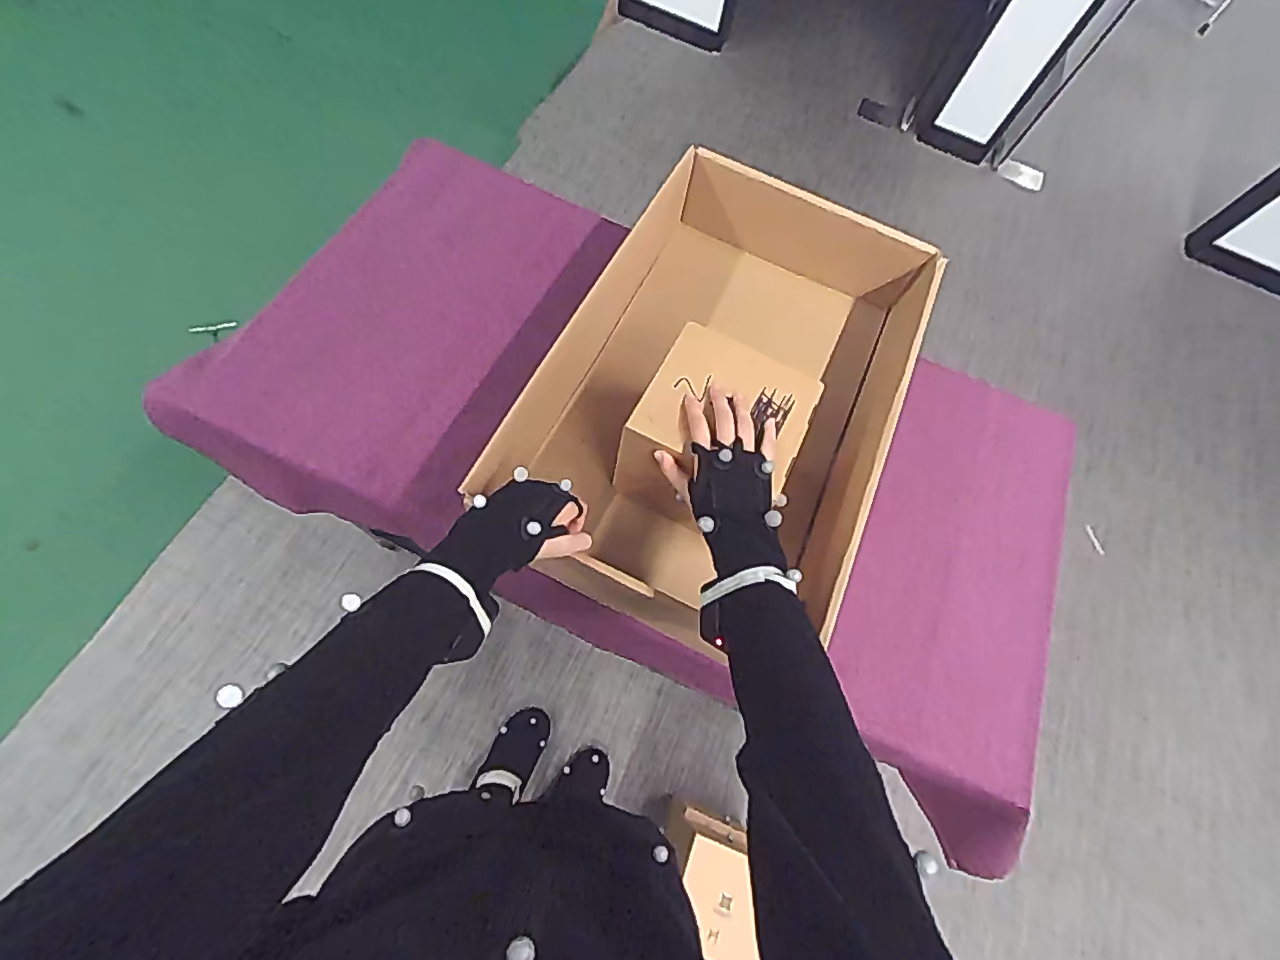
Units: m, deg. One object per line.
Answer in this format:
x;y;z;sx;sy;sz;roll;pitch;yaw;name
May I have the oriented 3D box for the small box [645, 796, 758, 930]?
0.126;0.810;1.167;0.179;0.176;0.168;24;67;3;small box
